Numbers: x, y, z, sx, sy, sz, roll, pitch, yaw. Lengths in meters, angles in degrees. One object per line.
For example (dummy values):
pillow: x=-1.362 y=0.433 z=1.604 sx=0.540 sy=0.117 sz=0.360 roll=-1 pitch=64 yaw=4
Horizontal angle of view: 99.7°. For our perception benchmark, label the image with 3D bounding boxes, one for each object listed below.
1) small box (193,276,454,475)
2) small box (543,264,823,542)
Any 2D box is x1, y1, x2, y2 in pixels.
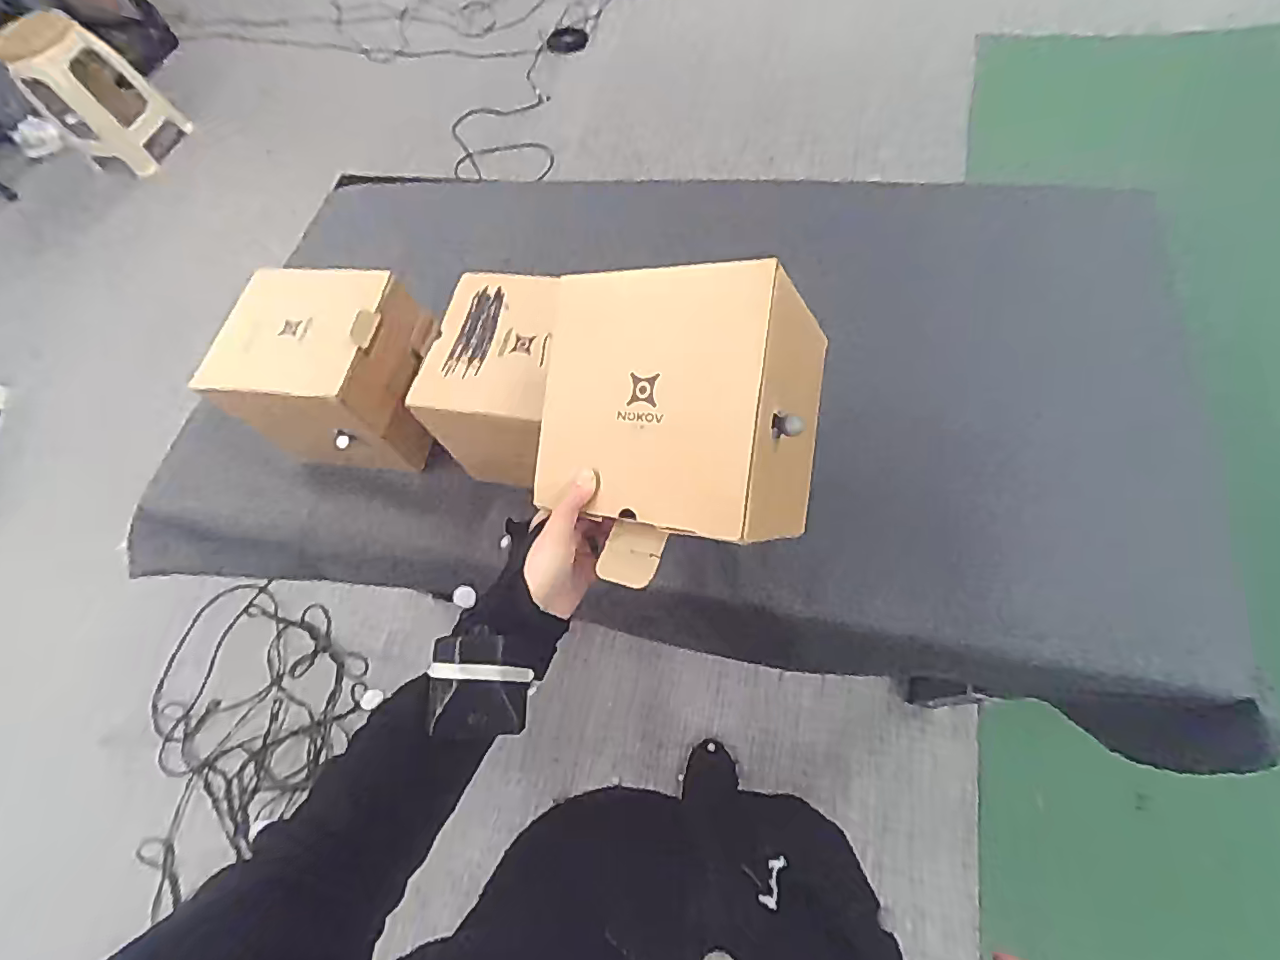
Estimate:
small box: x=-0.349 y=-0.116 z=0.638 sx=0.179 sy=0.176 sz=0.168 roll=4 pitch=64 yaw=10
small box: x=0.046 y=-0.052 z=0.439 sx=0.168 sy=0.176 sz=0.179 roll=7 pitch=90 yaw=28
